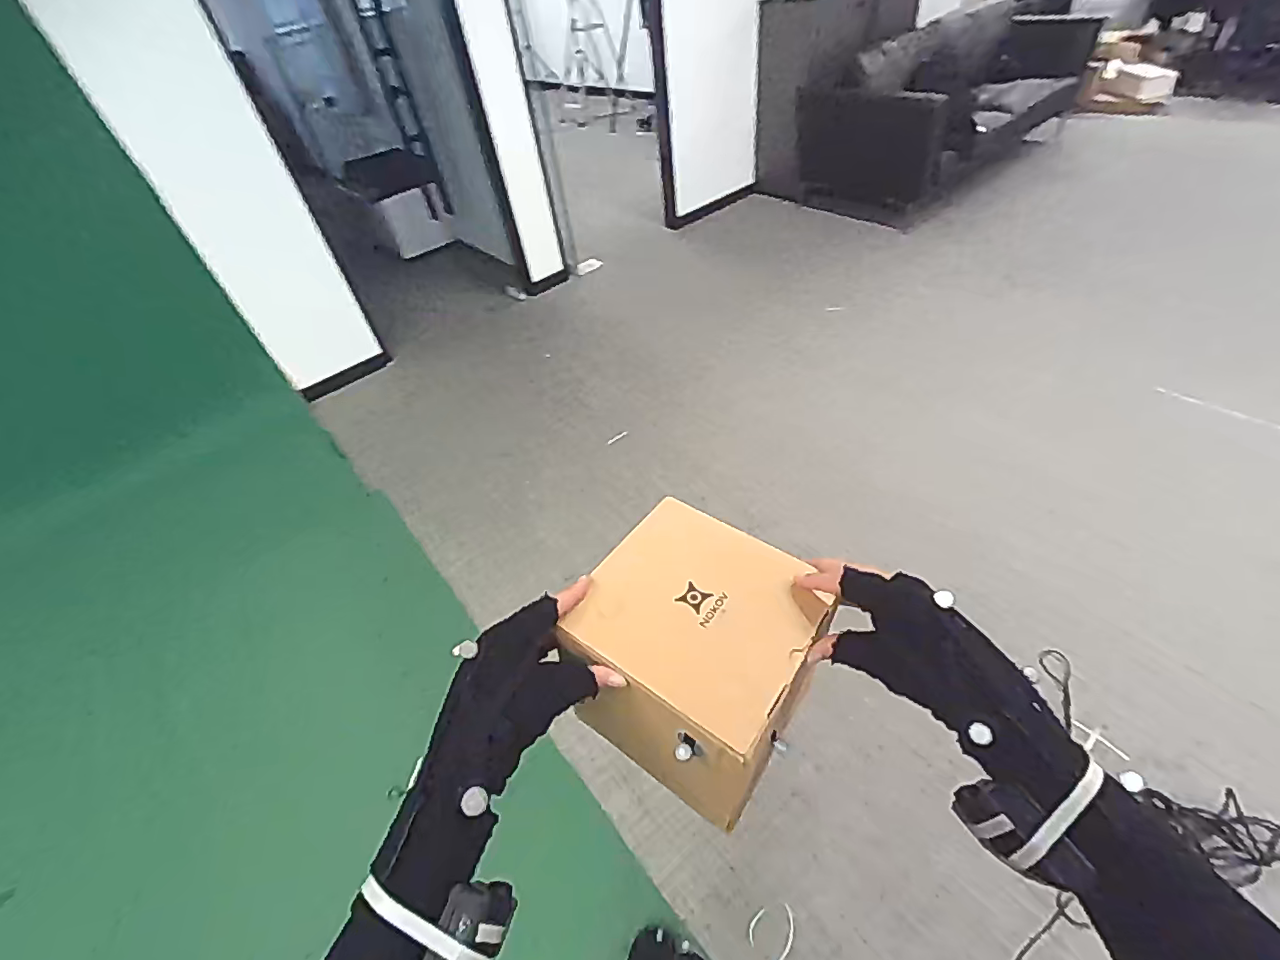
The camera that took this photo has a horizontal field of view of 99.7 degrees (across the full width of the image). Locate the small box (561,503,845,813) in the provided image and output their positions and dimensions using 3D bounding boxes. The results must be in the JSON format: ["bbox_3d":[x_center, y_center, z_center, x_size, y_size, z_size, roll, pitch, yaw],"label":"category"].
[{"bbox_3d":[0.053,0.158,0.489,0.179,0.176,0.168,27,50,27],"label":"small box"}]
